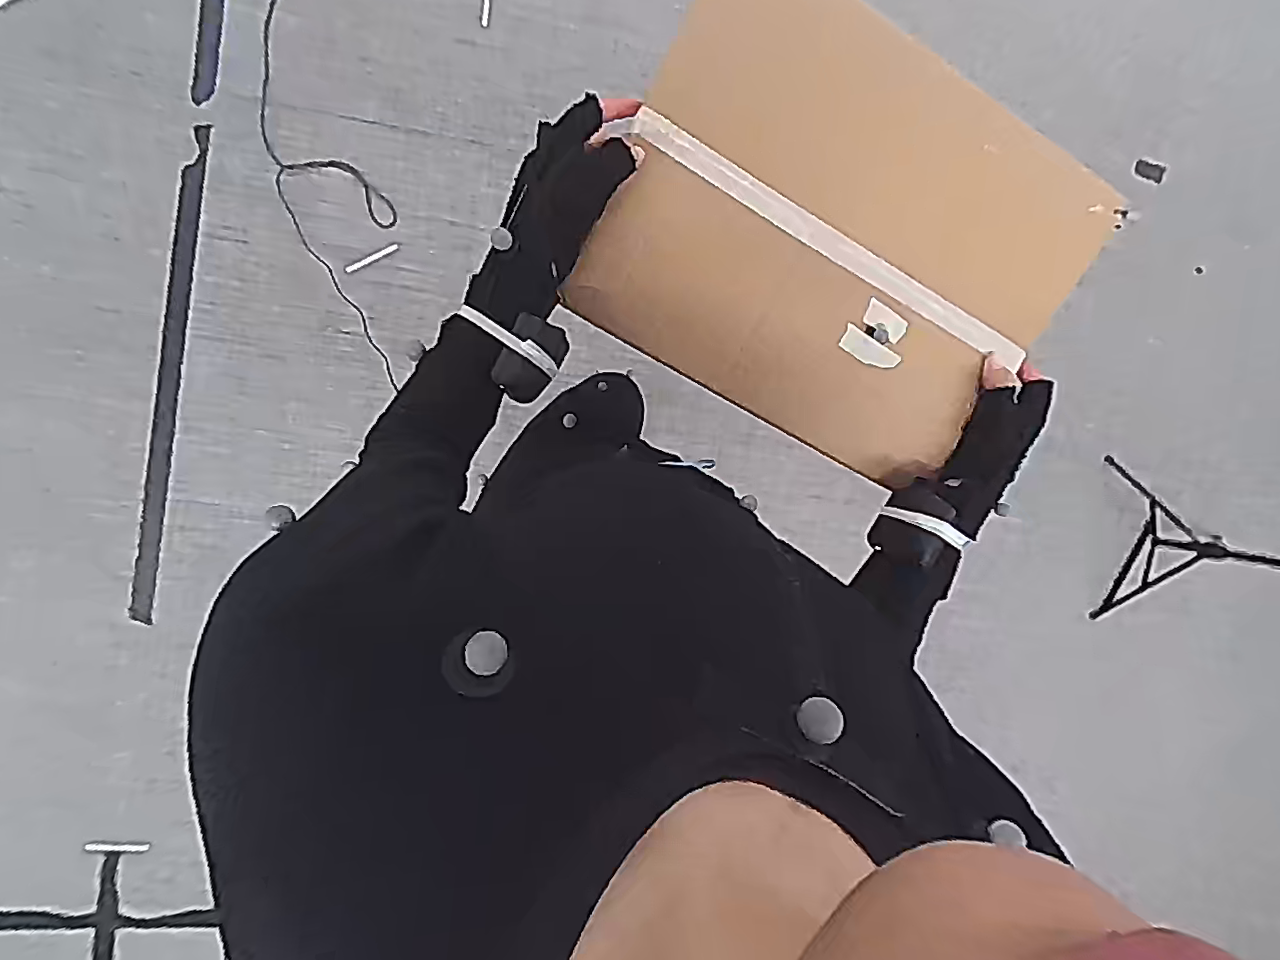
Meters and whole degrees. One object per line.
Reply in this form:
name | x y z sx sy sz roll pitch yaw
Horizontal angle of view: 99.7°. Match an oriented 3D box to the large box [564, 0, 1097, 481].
large box | 0.162 -0.253 0.629 0.408 0.320 0.320 27 104 -11
